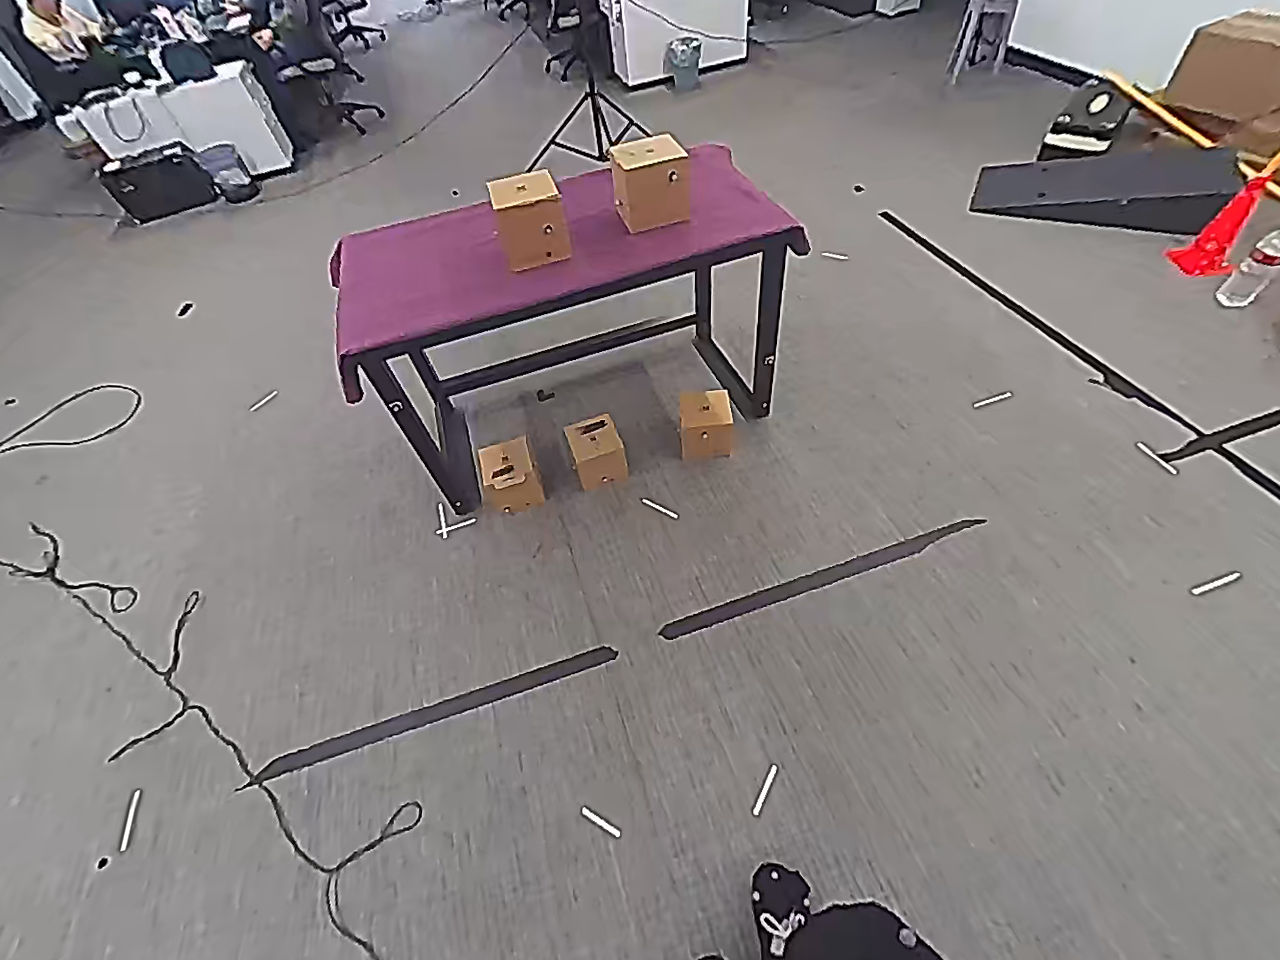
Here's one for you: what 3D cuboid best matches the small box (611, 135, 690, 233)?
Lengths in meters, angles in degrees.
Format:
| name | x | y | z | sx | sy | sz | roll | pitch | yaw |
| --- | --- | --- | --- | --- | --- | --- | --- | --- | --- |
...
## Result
| name | x | y | z | sx | sy | sz | roll | pitch | yaw |
| --- | --- | --- | --- | --- | --- | --- | --- | --- | --- |
| small box | 0.031 | -0.808 | 1.481 | 0.179 | 0.176 | 0.168 | -17 | 51 | -5 |

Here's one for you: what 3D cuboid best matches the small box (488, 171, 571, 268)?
| name | x | y | z | sx | sy | sz | roll | pitch | yaw |
| --- | --- | --- | --- | --- | --- | --- | --- | --- | --- |
| small box | -0.288 | -0.680 | 1.425 | 0.168 | 0.176 | 0.179 | -17 | 50 | -7 |

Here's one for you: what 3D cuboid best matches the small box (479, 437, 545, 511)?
| name | x | y | z | sx | sy | sz | roll | pitch | yaw |
| --- | --- | --- | --- | --- | --- | --- | --- | --- | --- |
| small box | -0.436 | -0.014 | 1.853 | 0.168 | 0.176 | 0.179 | -17 | 51 | -6 |

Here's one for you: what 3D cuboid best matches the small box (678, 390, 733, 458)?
| name | x | y | z | sx | sy | sz | roll | pitch | yaw |
| --- | --- | --- | --- | --- | --- | --- | --- | --- | --- |
| small box | 0.230 | -0.193 | 1.908 | 0.179 | 0.176 | 0.168 | -6 | 52 | 5 |
